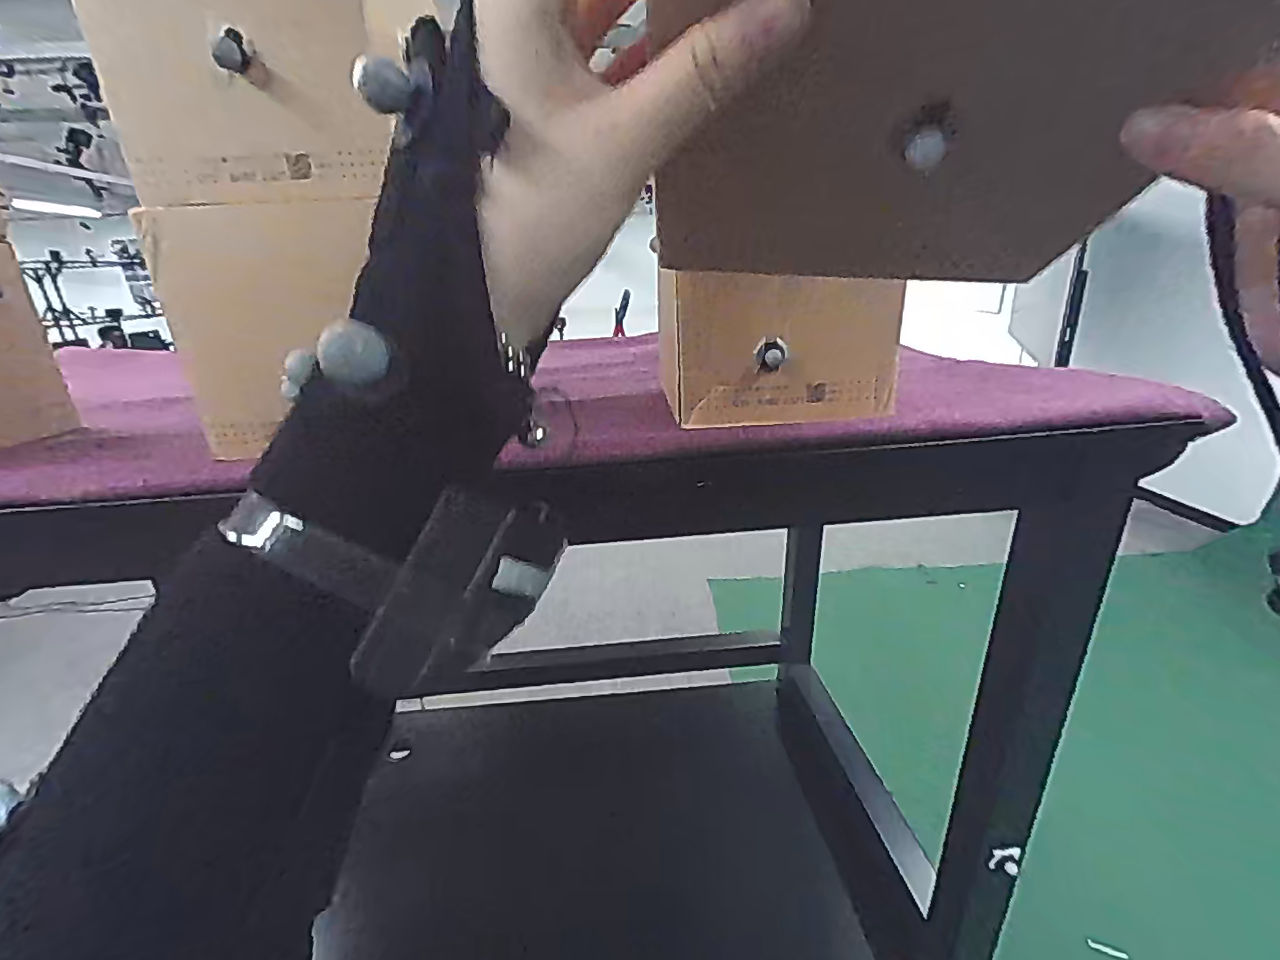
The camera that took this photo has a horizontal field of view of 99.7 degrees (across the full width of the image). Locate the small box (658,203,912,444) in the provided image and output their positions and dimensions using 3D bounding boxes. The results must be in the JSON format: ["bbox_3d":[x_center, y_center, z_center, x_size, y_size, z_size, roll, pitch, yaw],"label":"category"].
[{"bbox_3d":[0.102,-0.136,0.468,0.168,0.176,0.179,-4,23,-1],"label":"small box"}]

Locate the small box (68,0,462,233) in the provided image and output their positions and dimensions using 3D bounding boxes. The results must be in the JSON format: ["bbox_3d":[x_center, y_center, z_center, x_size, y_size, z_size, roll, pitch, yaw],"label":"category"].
[{"bbox_3d":[-0.242,-0.268,0.397,0.168,0.176,0.179,-4,22,-2],"label":"small box"}]

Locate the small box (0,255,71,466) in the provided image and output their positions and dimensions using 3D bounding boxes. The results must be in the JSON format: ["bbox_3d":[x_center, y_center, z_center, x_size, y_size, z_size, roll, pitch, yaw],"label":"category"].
[{"bbox_3d":[-0.605,-0.081,0.411,0.168,0.176,0.179,-4,21,-3],"label":"small box"}]
